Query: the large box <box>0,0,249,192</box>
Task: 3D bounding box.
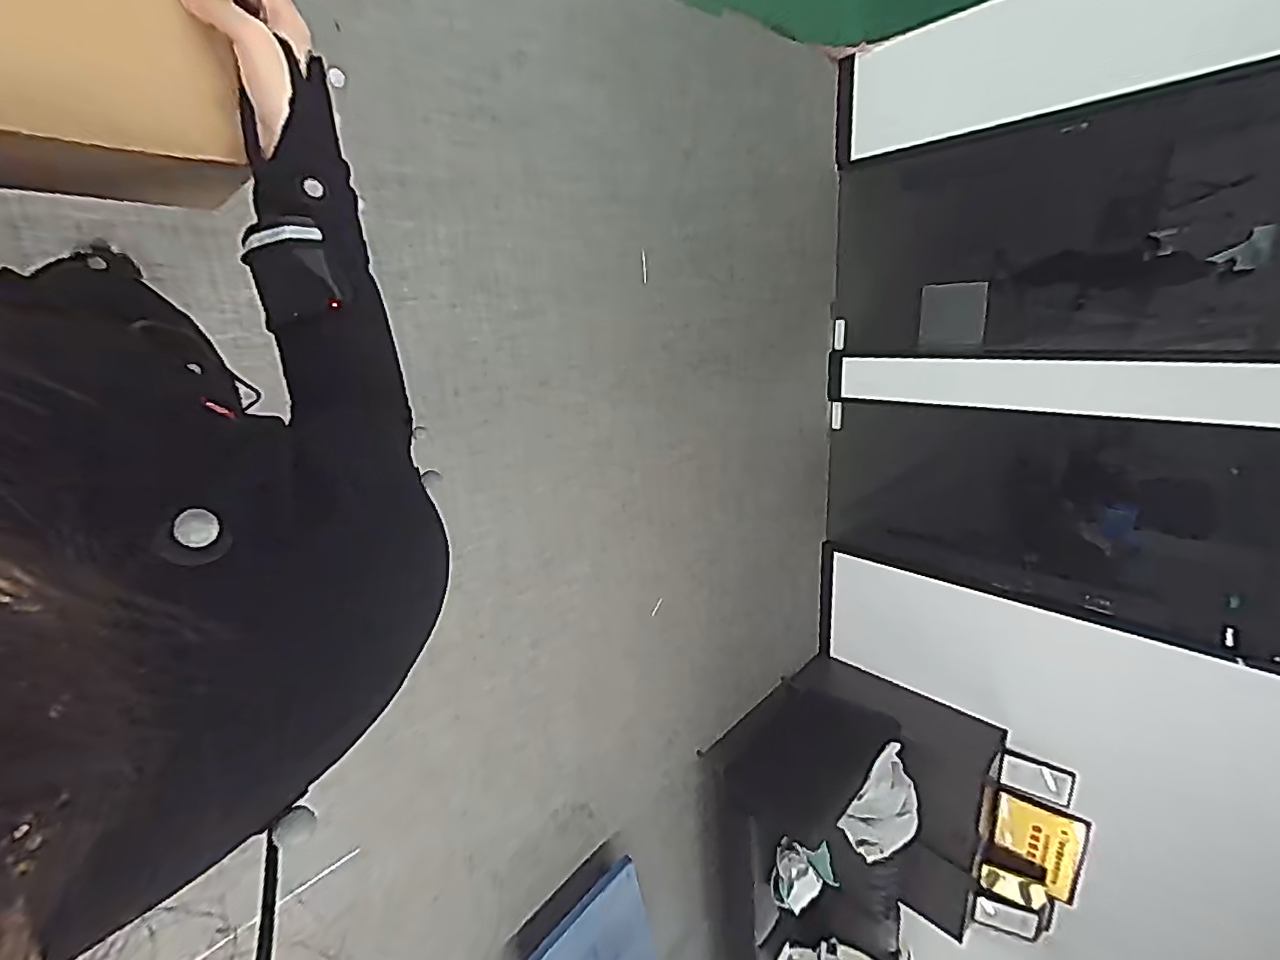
[{"bbox_3d":[-0.542,-0.391,0.351,0.408,0.320,0.320,-14,114,-38],"label":"large box"}]
